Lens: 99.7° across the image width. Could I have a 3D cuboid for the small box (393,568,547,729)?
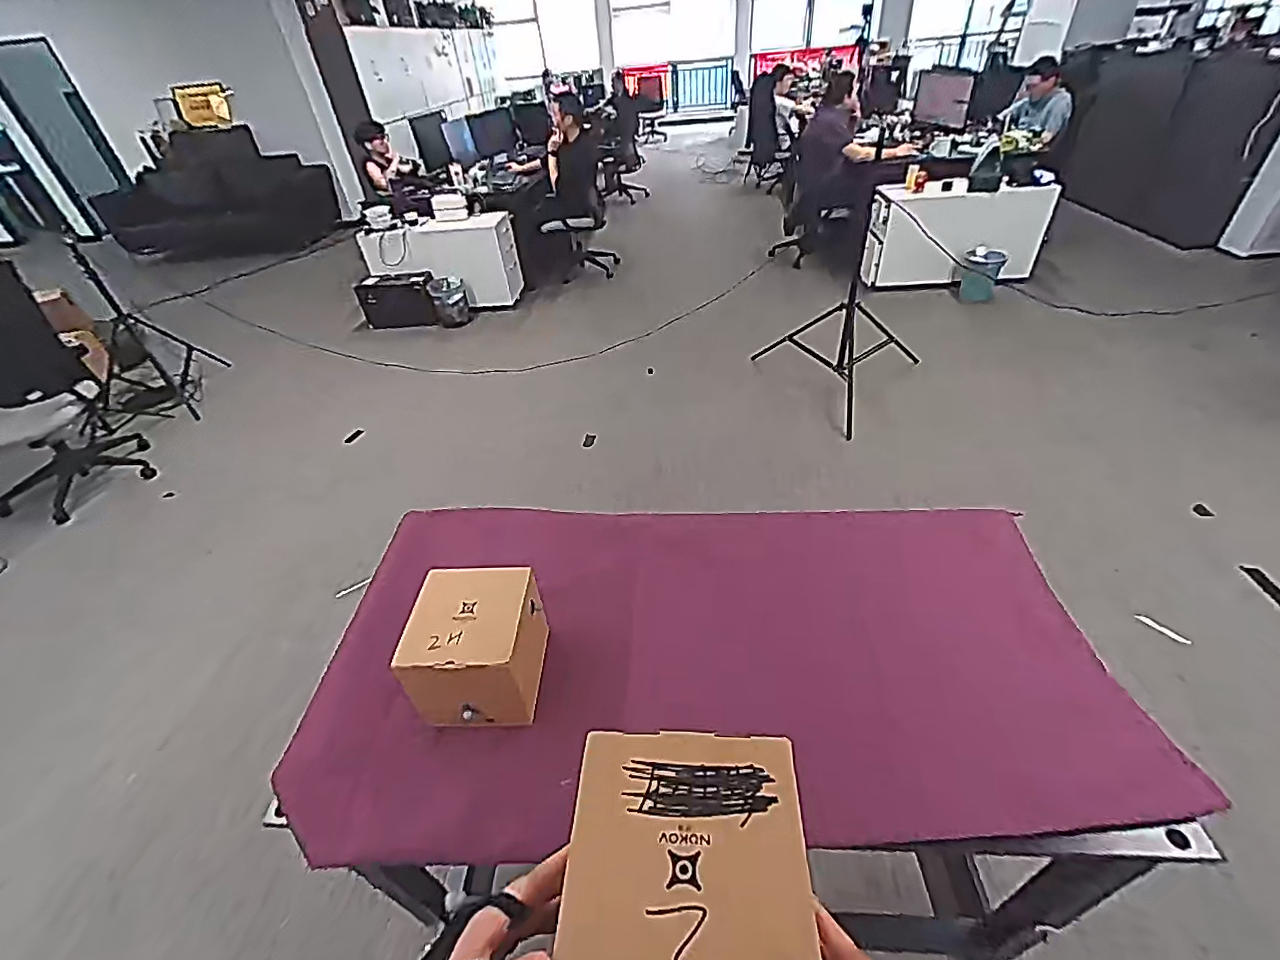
[{"bbox_3d":[-0.244,0.256,0.831,0.168,0.176,0.179,-2,39,3],"label":"small box"}]
